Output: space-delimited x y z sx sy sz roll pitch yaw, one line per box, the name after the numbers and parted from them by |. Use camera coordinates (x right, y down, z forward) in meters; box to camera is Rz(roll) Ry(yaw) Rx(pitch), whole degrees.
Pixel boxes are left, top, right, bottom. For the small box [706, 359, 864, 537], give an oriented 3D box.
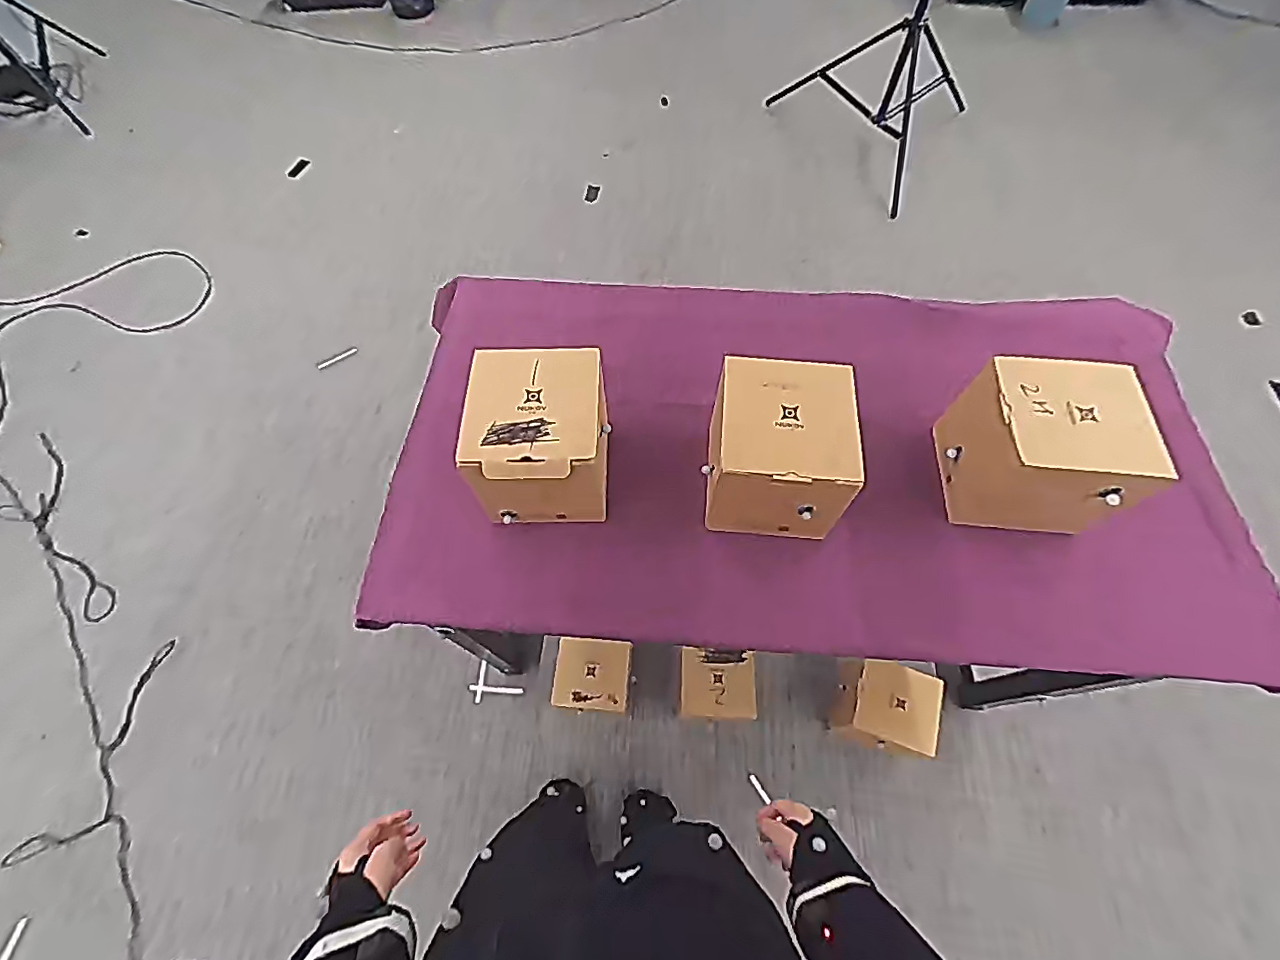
0.182 -0.037 0.726 0.168 0.176 0.179 5 60 2 | small box

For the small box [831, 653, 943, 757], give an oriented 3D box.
0.566 0.522 1.253 0.179 0.176 0.168 18 65 11 | small box

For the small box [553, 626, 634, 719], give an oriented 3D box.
-0.104 0.462 1.290 0.168 0.176 0.179 4 62 3 | small box

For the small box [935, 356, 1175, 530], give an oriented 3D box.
0.531 -0.042 0.724 0.179 0.176 0.168 5 62 4 | small box

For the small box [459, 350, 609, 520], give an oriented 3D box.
-0.129 -0.053 0.734 0.168 0.176 0.179 -1 60 0 | small box
